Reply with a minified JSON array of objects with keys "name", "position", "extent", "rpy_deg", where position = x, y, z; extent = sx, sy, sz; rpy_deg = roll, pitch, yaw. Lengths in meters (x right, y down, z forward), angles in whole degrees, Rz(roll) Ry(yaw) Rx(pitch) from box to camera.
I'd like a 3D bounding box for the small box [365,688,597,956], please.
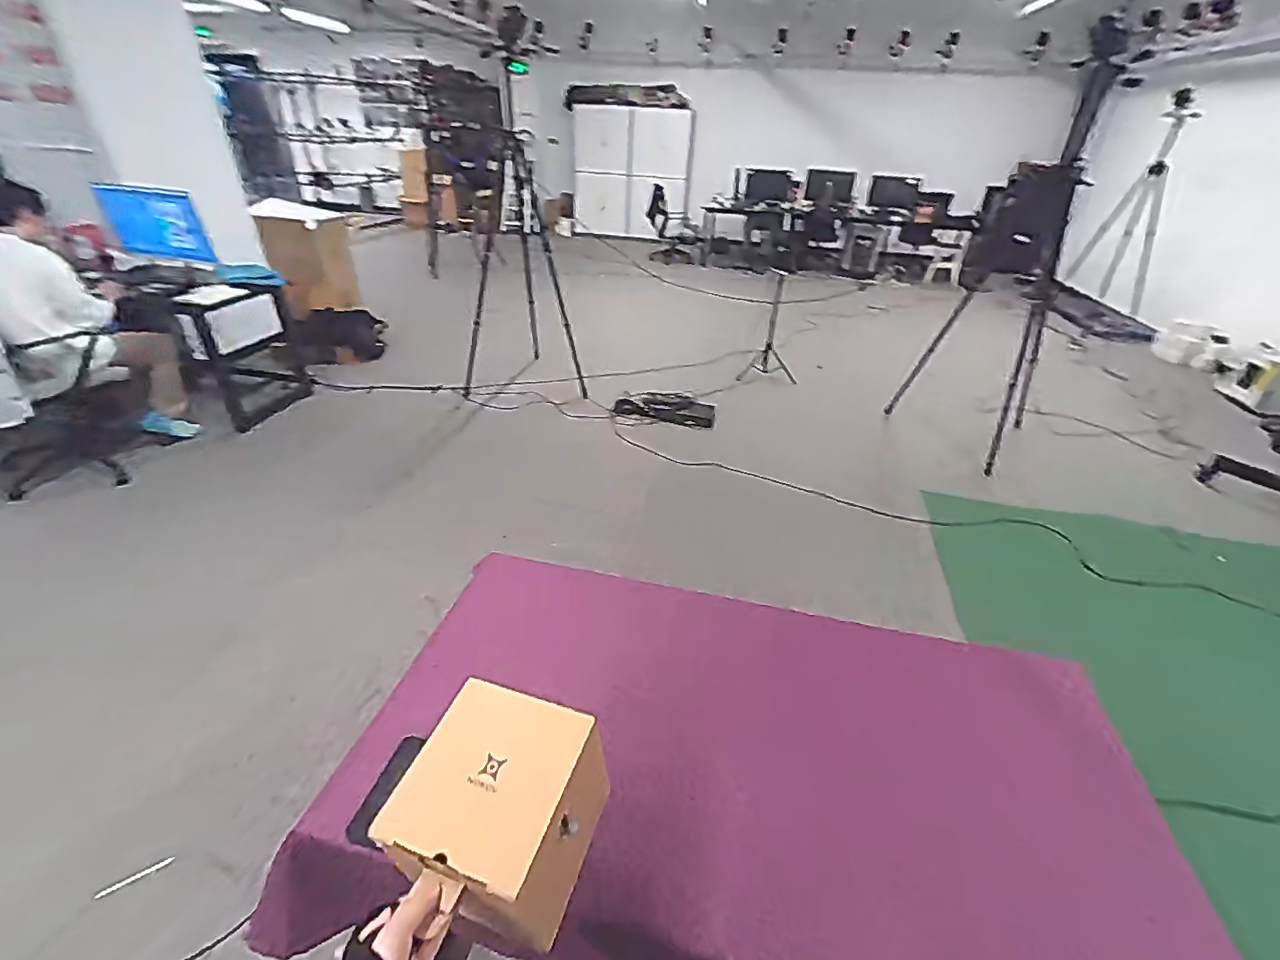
[{"name":"small box","position":[-0.155,0.371,0.597],"extent":[0.168,0.176,0.179],"rpy_deg":[10,40,17]}]
